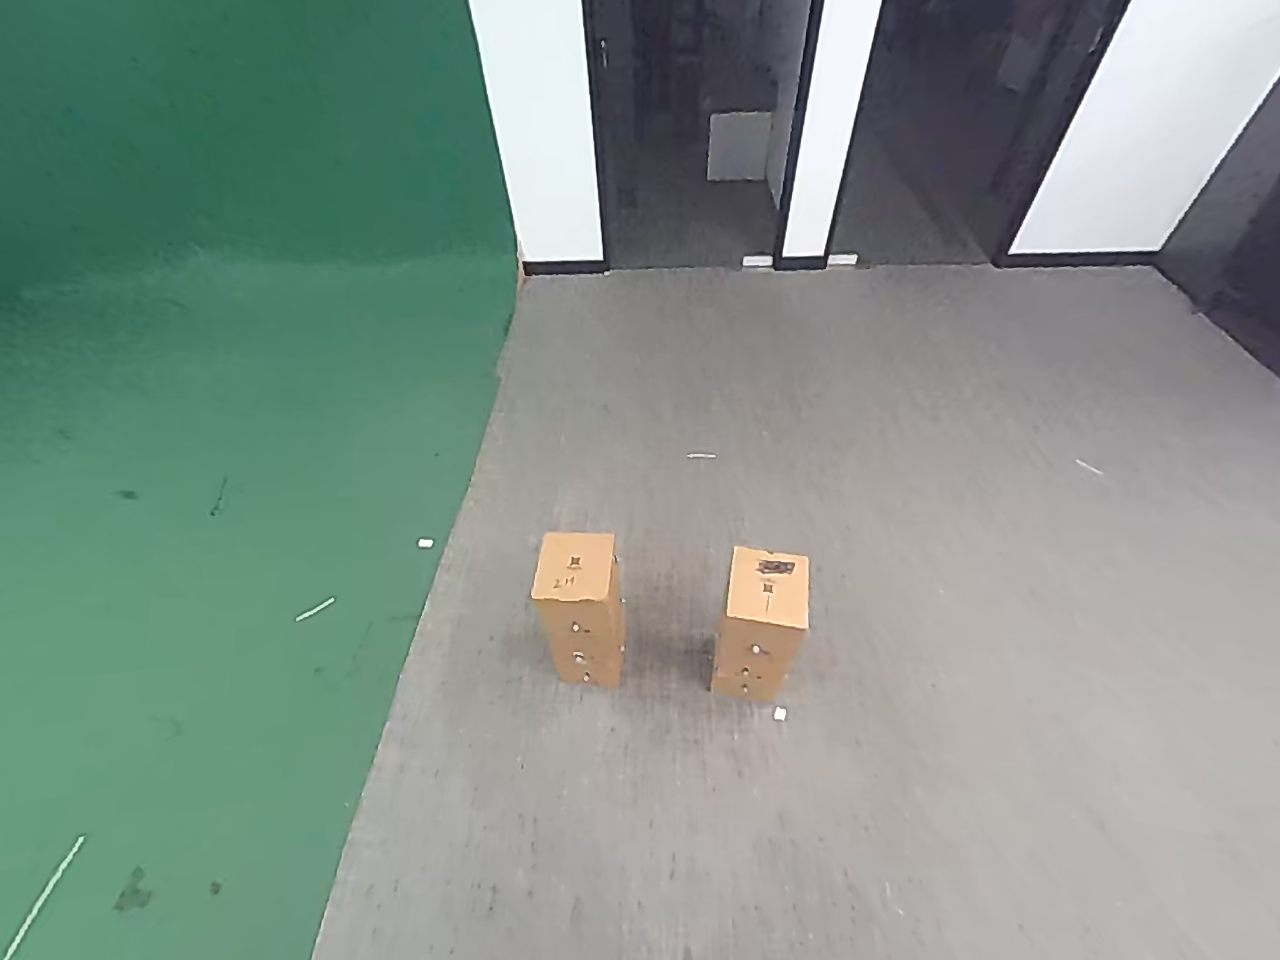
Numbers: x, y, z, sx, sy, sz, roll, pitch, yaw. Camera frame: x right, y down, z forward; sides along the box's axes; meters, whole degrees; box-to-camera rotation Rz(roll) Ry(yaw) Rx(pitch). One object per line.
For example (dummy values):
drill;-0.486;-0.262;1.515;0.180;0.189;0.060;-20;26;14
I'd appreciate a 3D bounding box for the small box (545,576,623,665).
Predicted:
small box;-0.135;0.353;1.383;0.168;0.176;0.179;0;50;4

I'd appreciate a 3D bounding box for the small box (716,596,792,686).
small box;0.280;0.383;1.338;0.168;0.176;0.179;6;50;8

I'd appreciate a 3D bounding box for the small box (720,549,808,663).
small box;0.273;0.283;1.208;0.168;0.176;0.179;8;52;9

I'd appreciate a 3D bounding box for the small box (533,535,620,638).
small box;-0.139;0.247;1.256;0.168;0.176;0.179;0;49;5

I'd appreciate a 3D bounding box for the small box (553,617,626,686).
small box;-0.133;0.458;1.507;0.168;0.176;0.179;4;50;6
